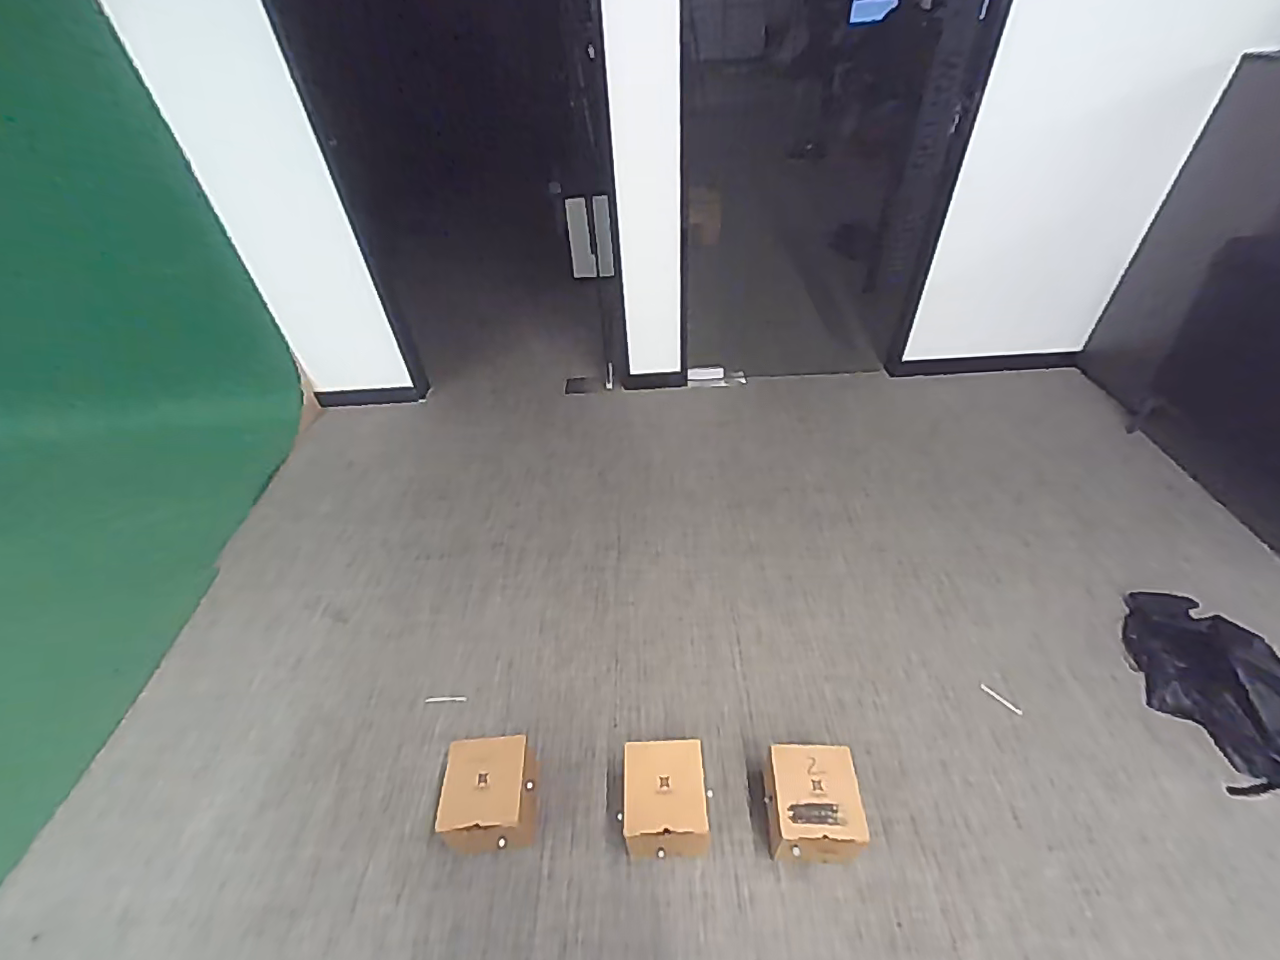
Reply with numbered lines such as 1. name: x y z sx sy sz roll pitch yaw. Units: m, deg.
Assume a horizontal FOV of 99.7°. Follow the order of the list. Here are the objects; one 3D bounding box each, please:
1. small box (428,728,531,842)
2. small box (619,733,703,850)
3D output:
1. small box: -0.334 0.660 1.164 0.168 0.176 0.179 -4 42 -2
2. small box: 0.040 0.659 1.145 0.168 0.176 0.179 -2 44 0
